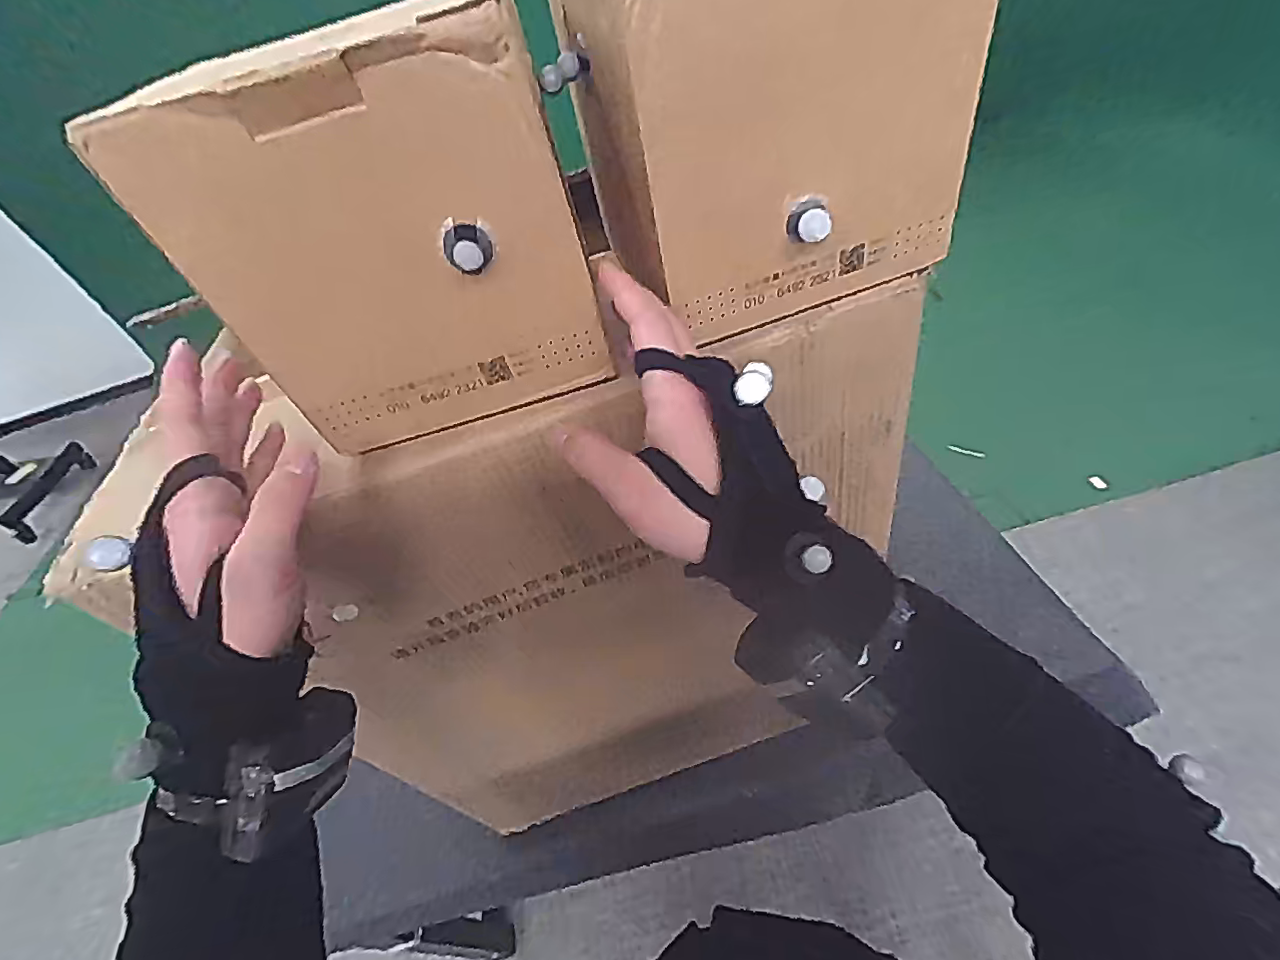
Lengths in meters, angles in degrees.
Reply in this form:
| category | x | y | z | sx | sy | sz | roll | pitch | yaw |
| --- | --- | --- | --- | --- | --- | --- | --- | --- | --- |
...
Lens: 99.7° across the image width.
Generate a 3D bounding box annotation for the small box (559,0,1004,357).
| category | x | y | z | sx | sy | sz | roll | pitch | yaw |
| --- | --- | --- | --- | --- | --- | --- | --- | --- | --- |
| small box | 0.062 | -0.200 | 0.313 | 0.168 | 0.176 | 0.179 | -19 | 46 | -2 |
